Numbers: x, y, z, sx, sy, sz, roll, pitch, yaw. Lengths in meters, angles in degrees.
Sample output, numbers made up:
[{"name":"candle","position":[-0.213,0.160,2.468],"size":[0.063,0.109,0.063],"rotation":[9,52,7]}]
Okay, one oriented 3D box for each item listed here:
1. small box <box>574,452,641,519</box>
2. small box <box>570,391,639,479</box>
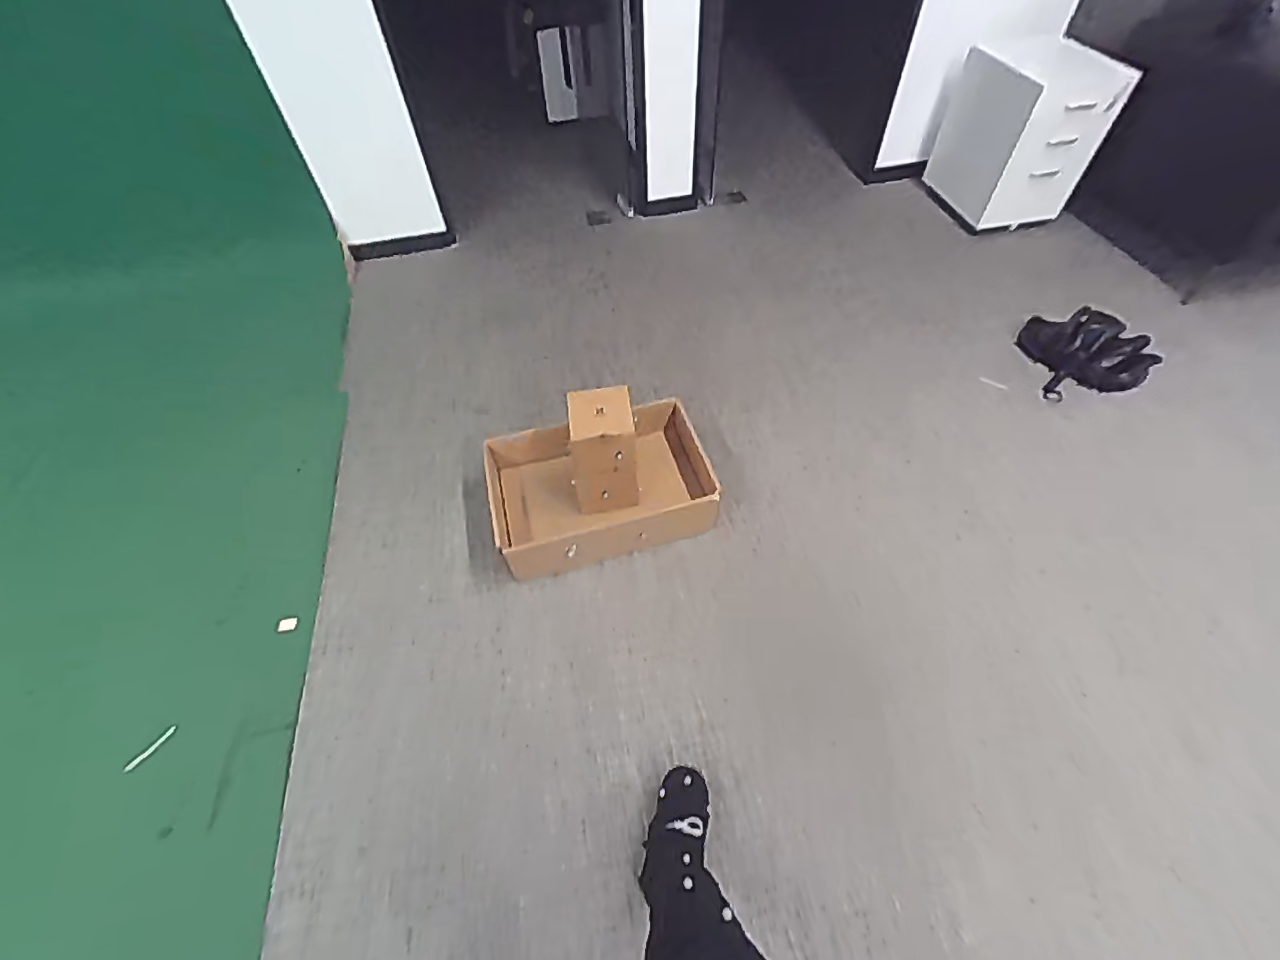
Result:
[{"name":"small box","position":[-0.095,-0.005,1.617],"size":[0.179,0.176,0.168],"rotation":[-10,52,-2]},{"name":"small box","position":[-0.096,-0.117,1.479],"size":[0.168,0.176,0.179],"rotation":[-7,51,-3]}]
